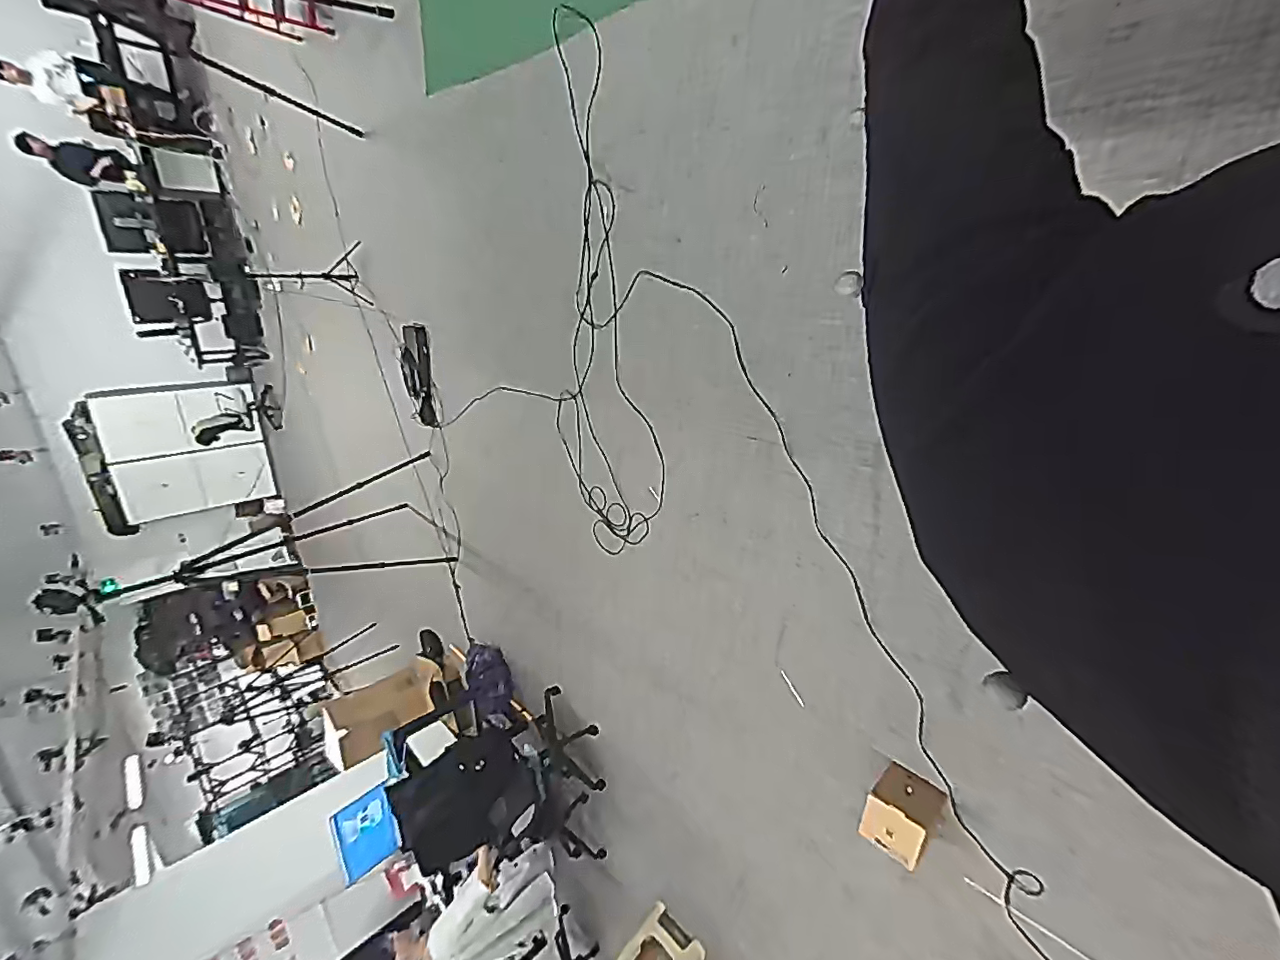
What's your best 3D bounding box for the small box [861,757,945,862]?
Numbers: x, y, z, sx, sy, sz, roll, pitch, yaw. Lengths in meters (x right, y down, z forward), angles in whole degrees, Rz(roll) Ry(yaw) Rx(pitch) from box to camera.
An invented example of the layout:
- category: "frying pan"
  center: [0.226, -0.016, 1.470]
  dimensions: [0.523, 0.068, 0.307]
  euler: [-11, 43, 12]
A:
- category: "small box"
  center: [0.805, 0.992, 1.648]
  dimensions: [0.168, 0.176, 0.179]
  euler: [23, 119, 40]
